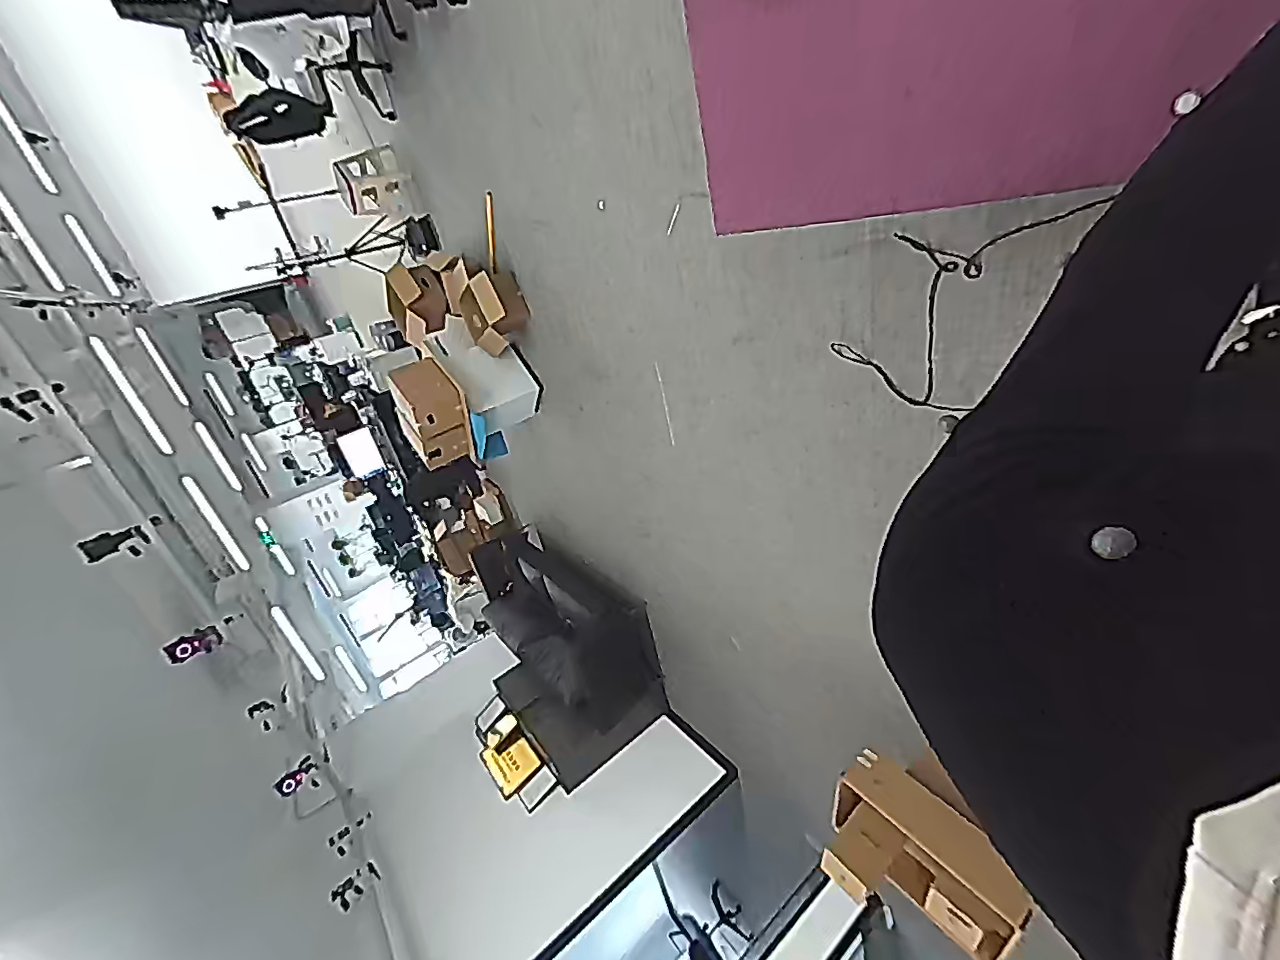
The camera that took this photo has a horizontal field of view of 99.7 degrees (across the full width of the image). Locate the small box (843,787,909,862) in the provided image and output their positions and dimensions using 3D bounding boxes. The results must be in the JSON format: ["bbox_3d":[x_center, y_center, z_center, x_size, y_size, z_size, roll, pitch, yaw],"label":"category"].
[{"bbox_3d":[0.870,1.293,2.008,0.168,0.176,0.179,33,140,41],"label":"small box"}]

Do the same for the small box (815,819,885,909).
[{"bbox_3d":[0.748,1.363,1.926,0.168,0.176,0.179,32,140,41],"label":"small box"}]
